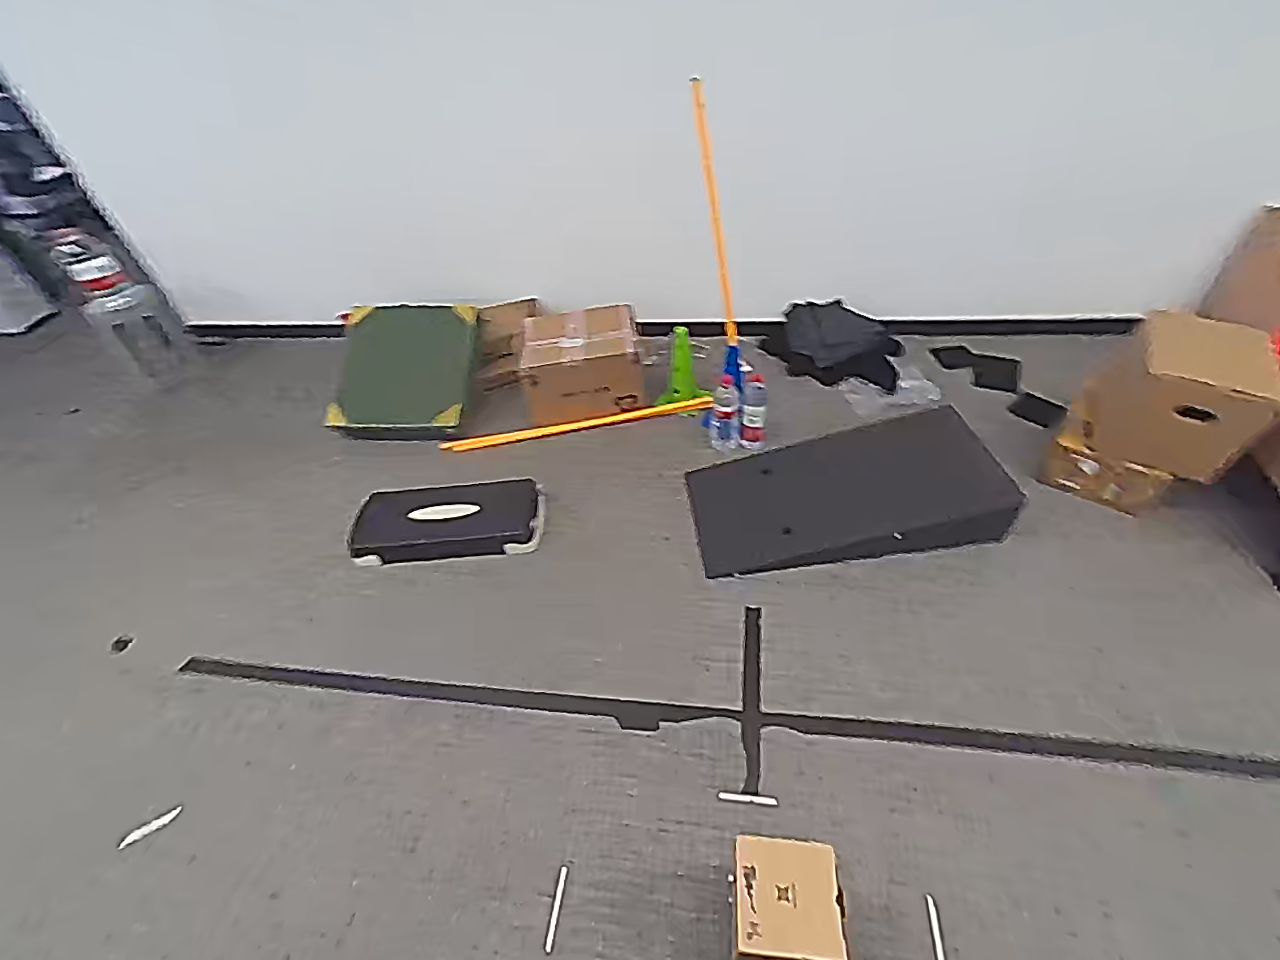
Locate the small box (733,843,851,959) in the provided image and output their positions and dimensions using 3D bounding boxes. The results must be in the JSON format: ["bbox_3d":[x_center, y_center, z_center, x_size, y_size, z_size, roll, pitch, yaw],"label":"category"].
[{"bbox_3d":[0.261,0.771,0.964,0.179,0.176,0.168,2,45,7],"label":"small box"}]
